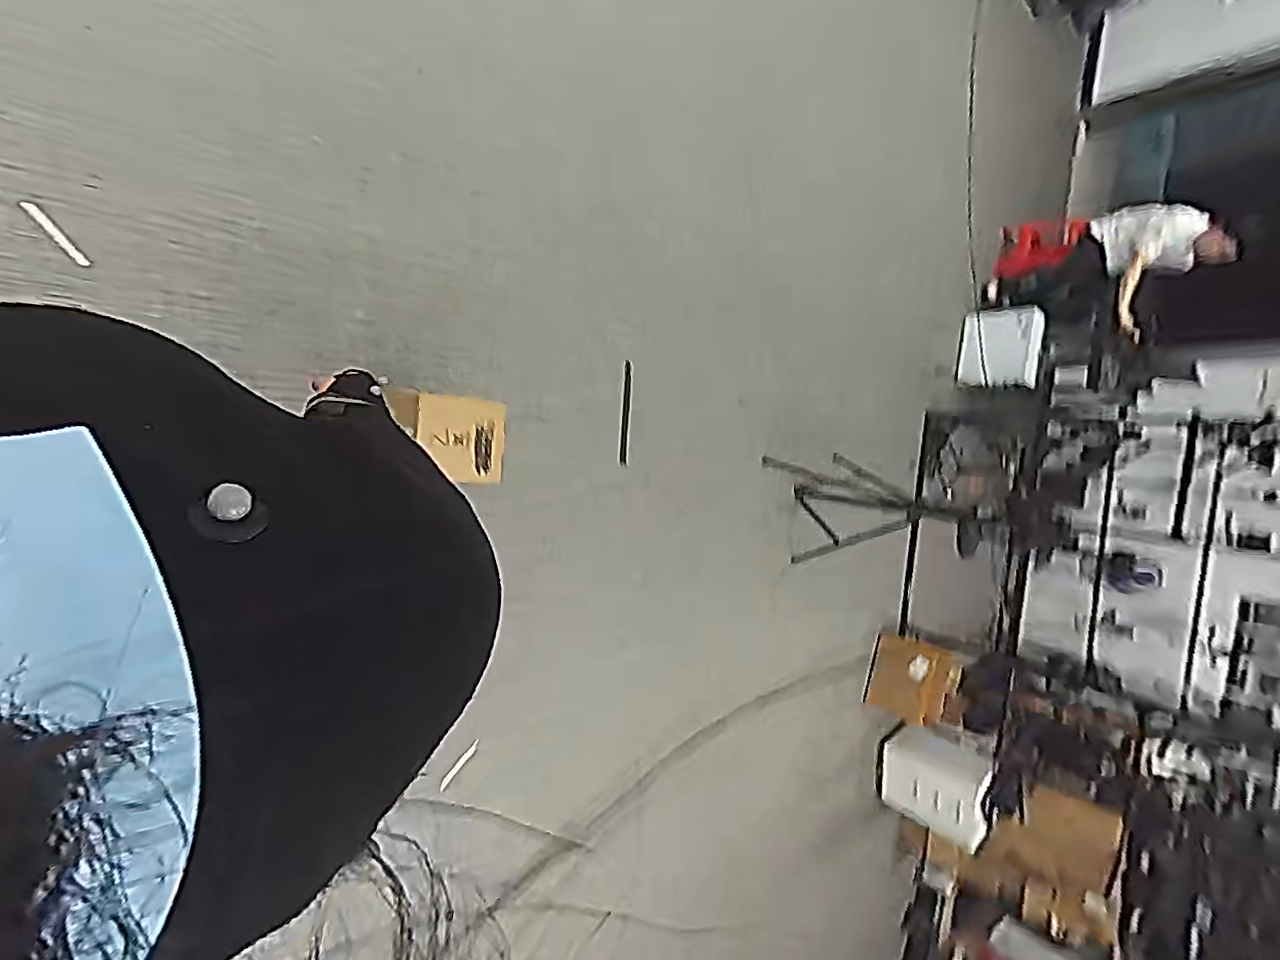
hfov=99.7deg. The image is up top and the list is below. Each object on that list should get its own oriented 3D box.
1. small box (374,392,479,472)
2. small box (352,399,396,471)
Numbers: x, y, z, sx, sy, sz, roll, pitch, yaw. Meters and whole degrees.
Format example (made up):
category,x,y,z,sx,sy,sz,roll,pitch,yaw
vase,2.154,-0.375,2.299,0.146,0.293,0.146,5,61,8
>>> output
category,x,y,z,sx,sy,sz,roll,pitch,yaw
small box,-0.495,-0.113,1.253,0.179,0.176,0.168,2,95,-40
small box,-0.606,-0.125,1.372,0.179,0.176,0.168,-14,105,-39
